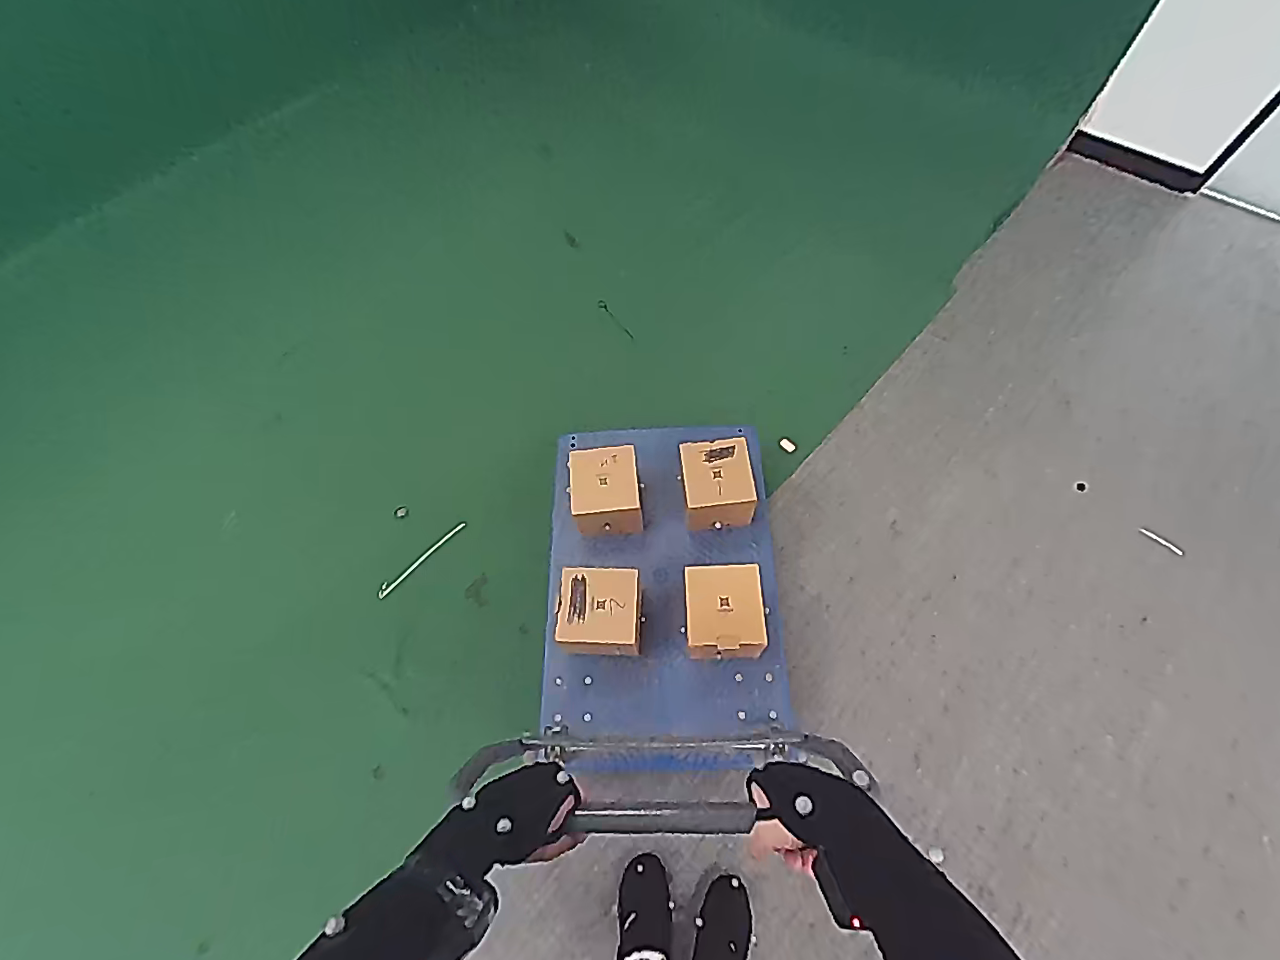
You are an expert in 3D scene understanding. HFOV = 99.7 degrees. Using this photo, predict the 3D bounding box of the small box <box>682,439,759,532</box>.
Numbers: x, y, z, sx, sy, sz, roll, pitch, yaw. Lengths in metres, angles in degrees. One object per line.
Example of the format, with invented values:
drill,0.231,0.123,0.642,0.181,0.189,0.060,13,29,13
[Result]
small box,0.196,0.016,1.369,0.168,0.176,0.179,-6,65,2

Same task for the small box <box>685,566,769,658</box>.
small box,0.190,0.304,1.234,0.168,0.176,0.179,-2,65,3

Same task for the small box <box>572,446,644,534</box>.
small box,-0.080,0.032,1.380,0.168,0.176,0.179,-5,64,1
